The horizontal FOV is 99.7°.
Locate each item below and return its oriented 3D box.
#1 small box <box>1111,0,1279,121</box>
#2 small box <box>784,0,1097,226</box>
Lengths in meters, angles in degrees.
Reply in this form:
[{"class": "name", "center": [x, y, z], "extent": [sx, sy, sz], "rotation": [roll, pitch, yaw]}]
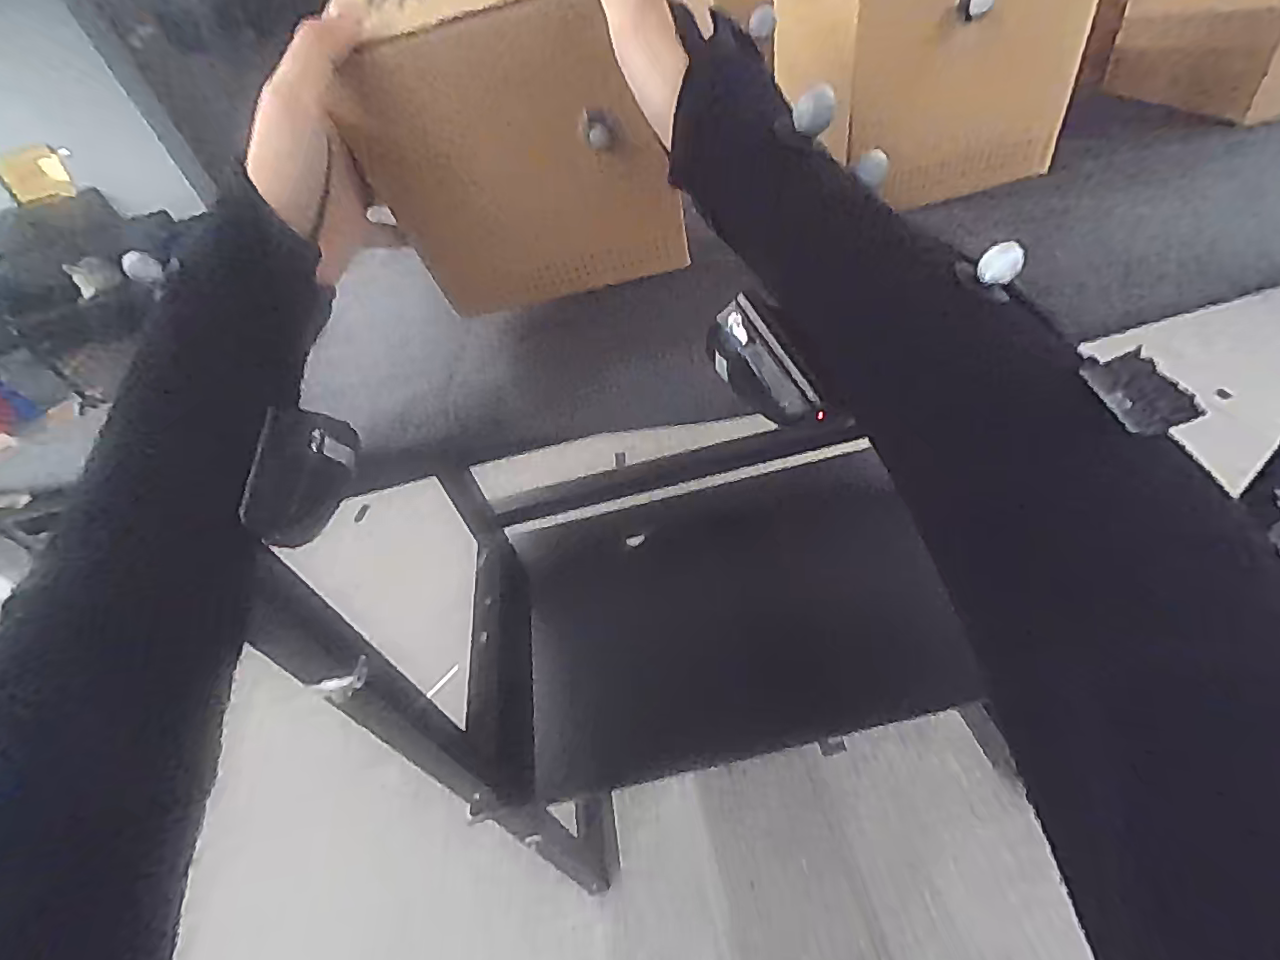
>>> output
[{"class": "small box", "center": [0.543, -0.413, 0.436], "extent": [0.168, 0.176, 0.179], "rotation": [-10, 43, 7]}, {"class": "small box", "center": [0.227, -0.339, 0.451], "extent": [0.179, 0.176, 0.168], "rotation": [-15, 43, 1]}]
